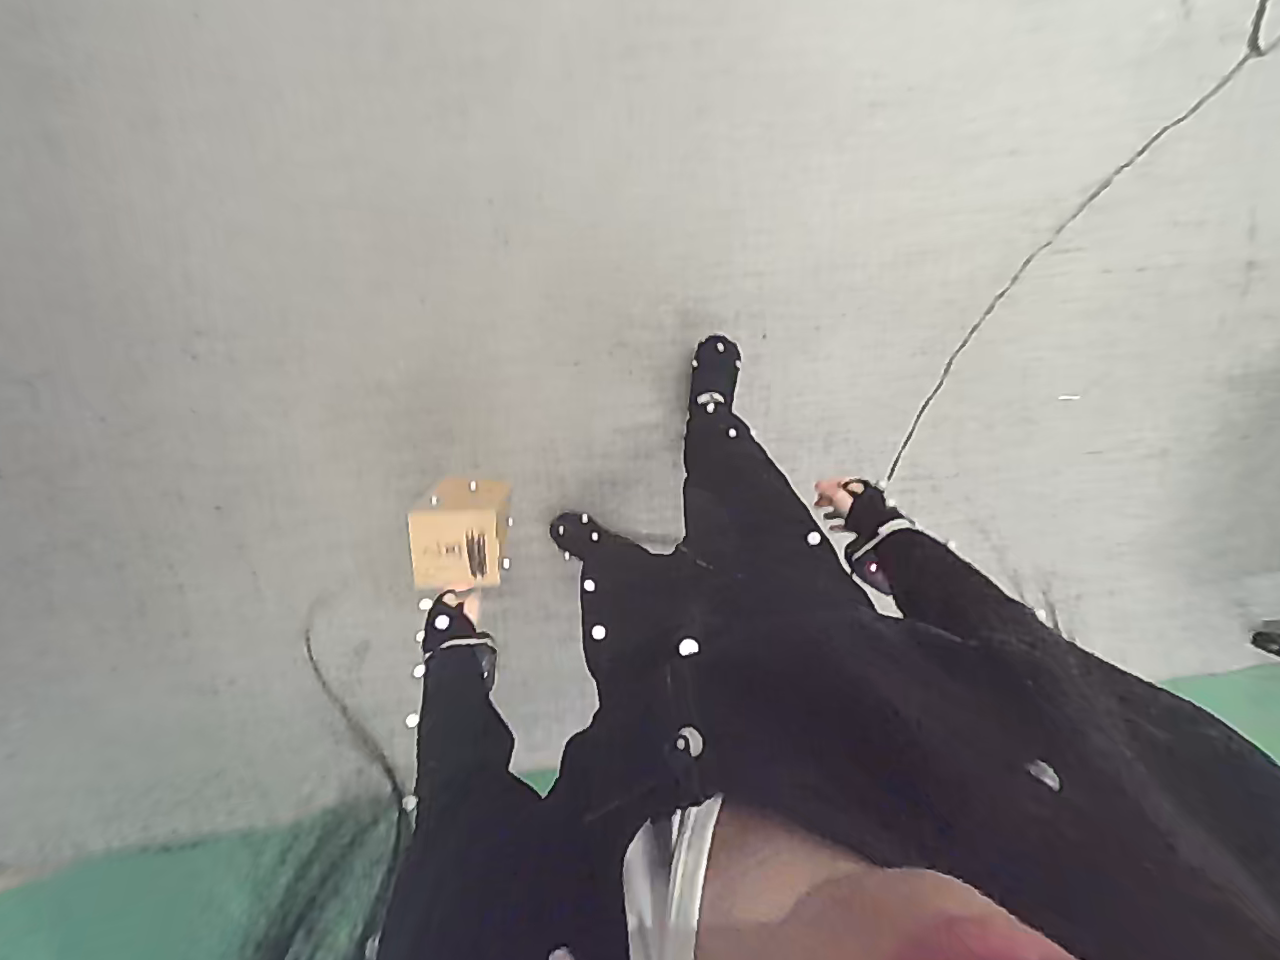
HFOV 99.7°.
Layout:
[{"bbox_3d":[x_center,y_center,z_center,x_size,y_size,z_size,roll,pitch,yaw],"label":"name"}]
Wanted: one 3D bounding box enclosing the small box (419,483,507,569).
[{"bbox_3d":[-0.432,0.108,1.336,0.179,0.176,0.168,6,102,-10],"label":"small box"}]
